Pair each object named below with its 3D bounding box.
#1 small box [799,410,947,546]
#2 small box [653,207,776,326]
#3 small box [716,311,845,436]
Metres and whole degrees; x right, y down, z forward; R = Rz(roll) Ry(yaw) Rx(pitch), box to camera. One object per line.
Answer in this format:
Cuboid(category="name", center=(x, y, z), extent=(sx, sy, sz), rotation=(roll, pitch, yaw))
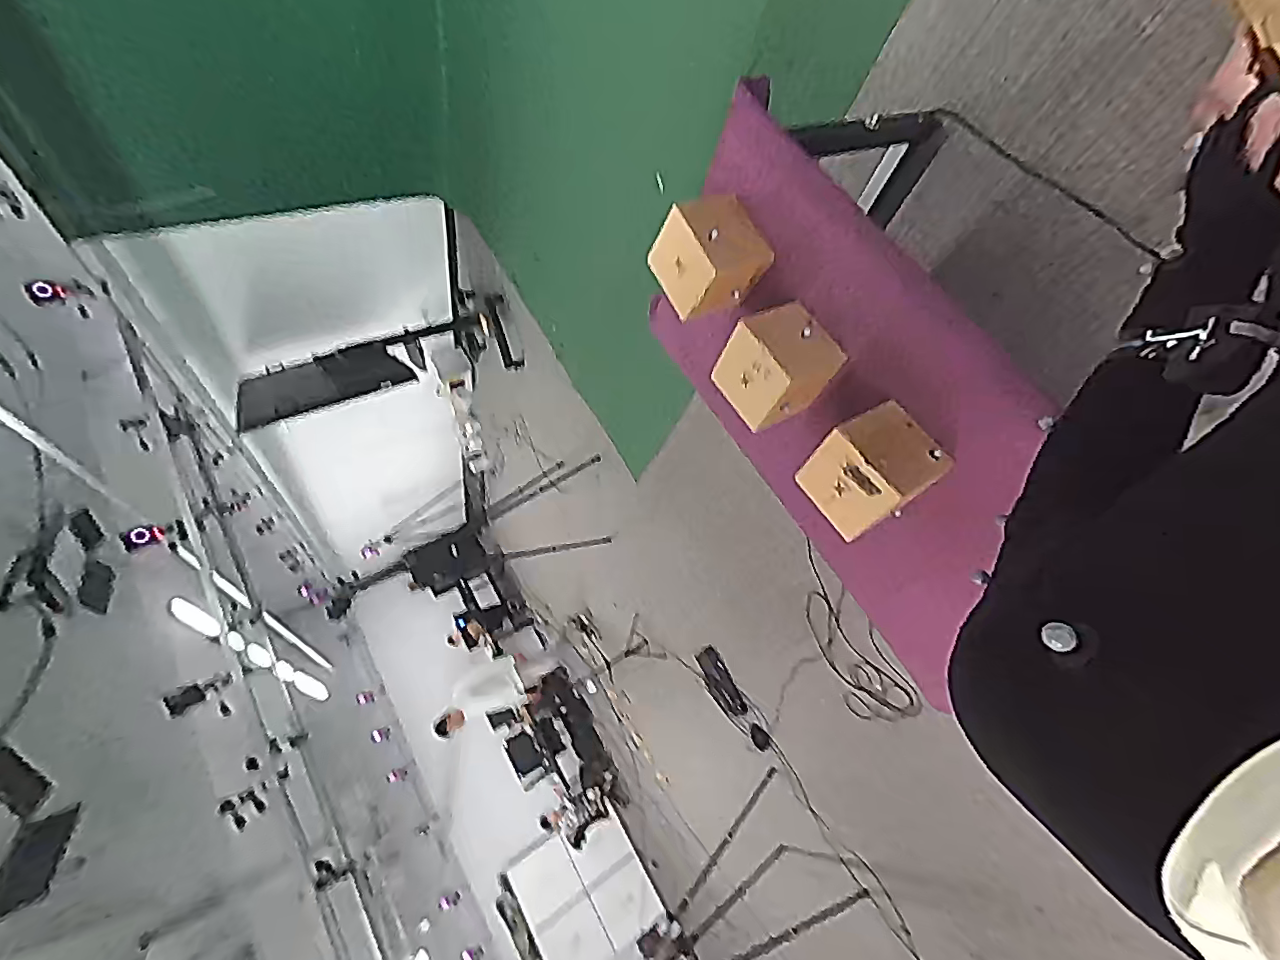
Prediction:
Cuboid(category="small box", center=(0.450, -0.008, 1.041), extent=(0.168, 0.176, 0.179), rotation=(55, 153, 21))
Cuboid(category="small box", center=(0.162, -0.474, 1.193), extent=(0.179, 0.176, 0.168), rotation=(60, 153, 9))
Cuboid(category="small box", center=(0.296, -0.226, 1.147), extent=(0.168, 0.176, 0.179), rotation=(56, 152, 18))
